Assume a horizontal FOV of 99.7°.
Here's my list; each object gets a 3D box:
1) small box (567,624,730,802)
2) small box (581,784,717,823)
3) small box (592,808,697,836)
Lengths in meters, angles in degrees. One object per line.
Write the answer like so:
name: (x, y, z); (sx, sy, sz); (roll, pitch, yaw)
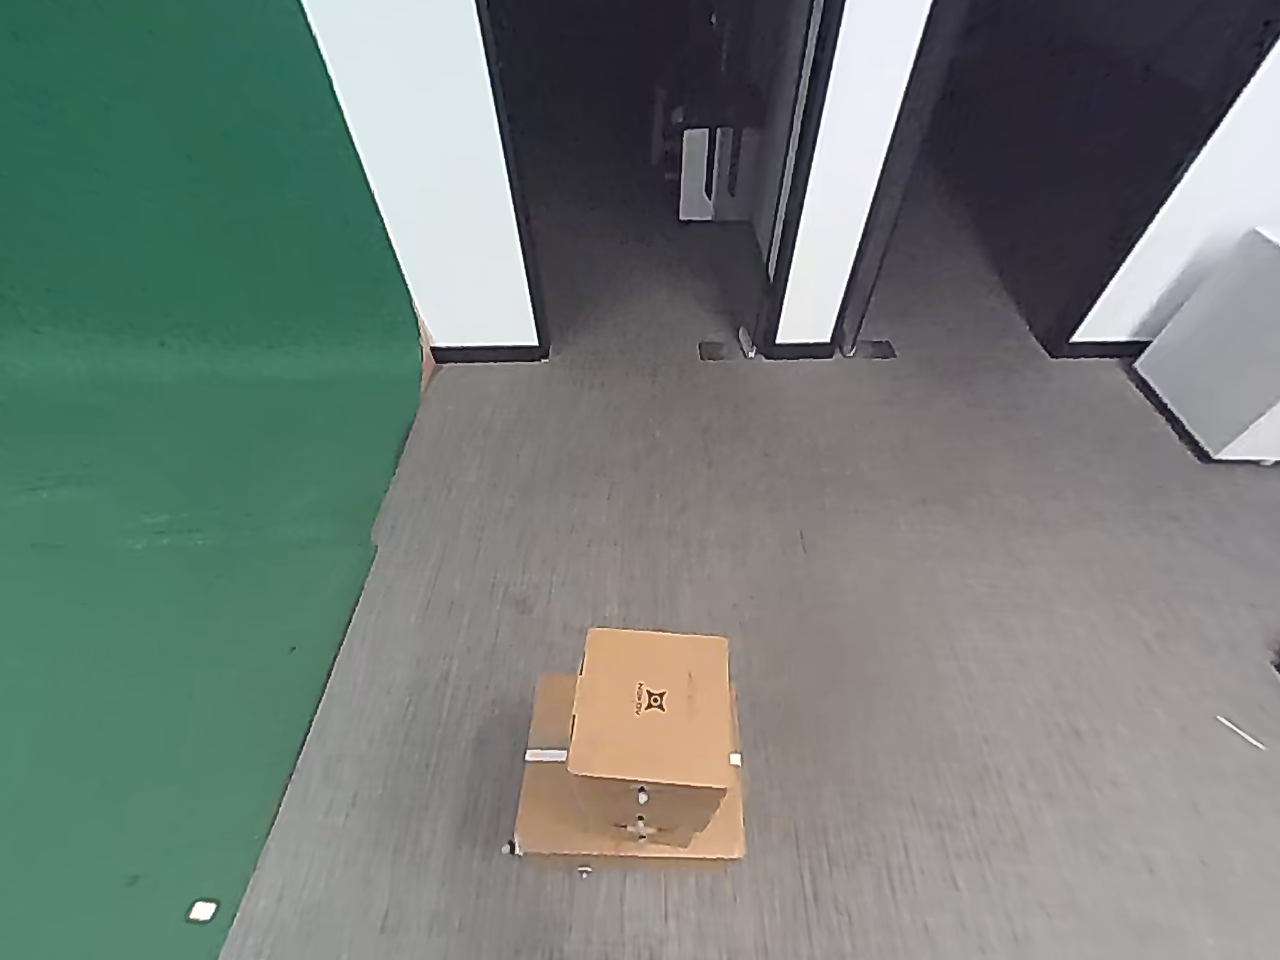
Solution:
small box: (0.016, 0.295, 0.678); (0.179, 0.176, 0.168); (2, 52, 3)
small box: (0.019, 0.398, 0.802); (0.179, 0.176, 0.168); (1, 51, 5)
small box: (0.018, 0.500, 0.932); (0.168, 0.176, 0.179); (2, 51, 4)
